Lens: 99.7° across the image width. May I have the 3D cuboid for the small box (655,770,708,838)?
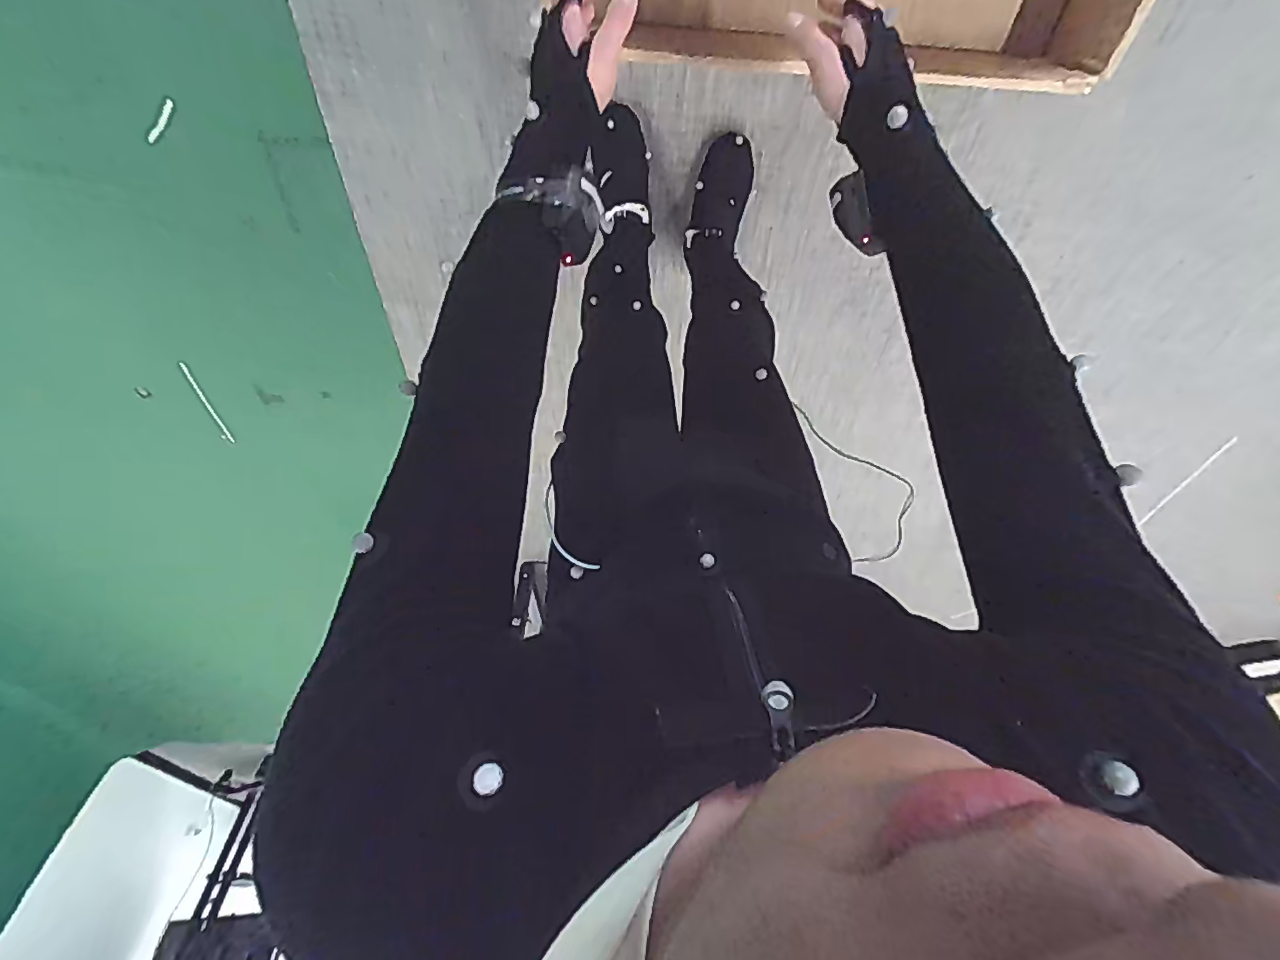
[{"bbox_3d":[0.135,1.098,1.832,0.168,0.176,0.179,1,137,1],"label":"small box"}]
